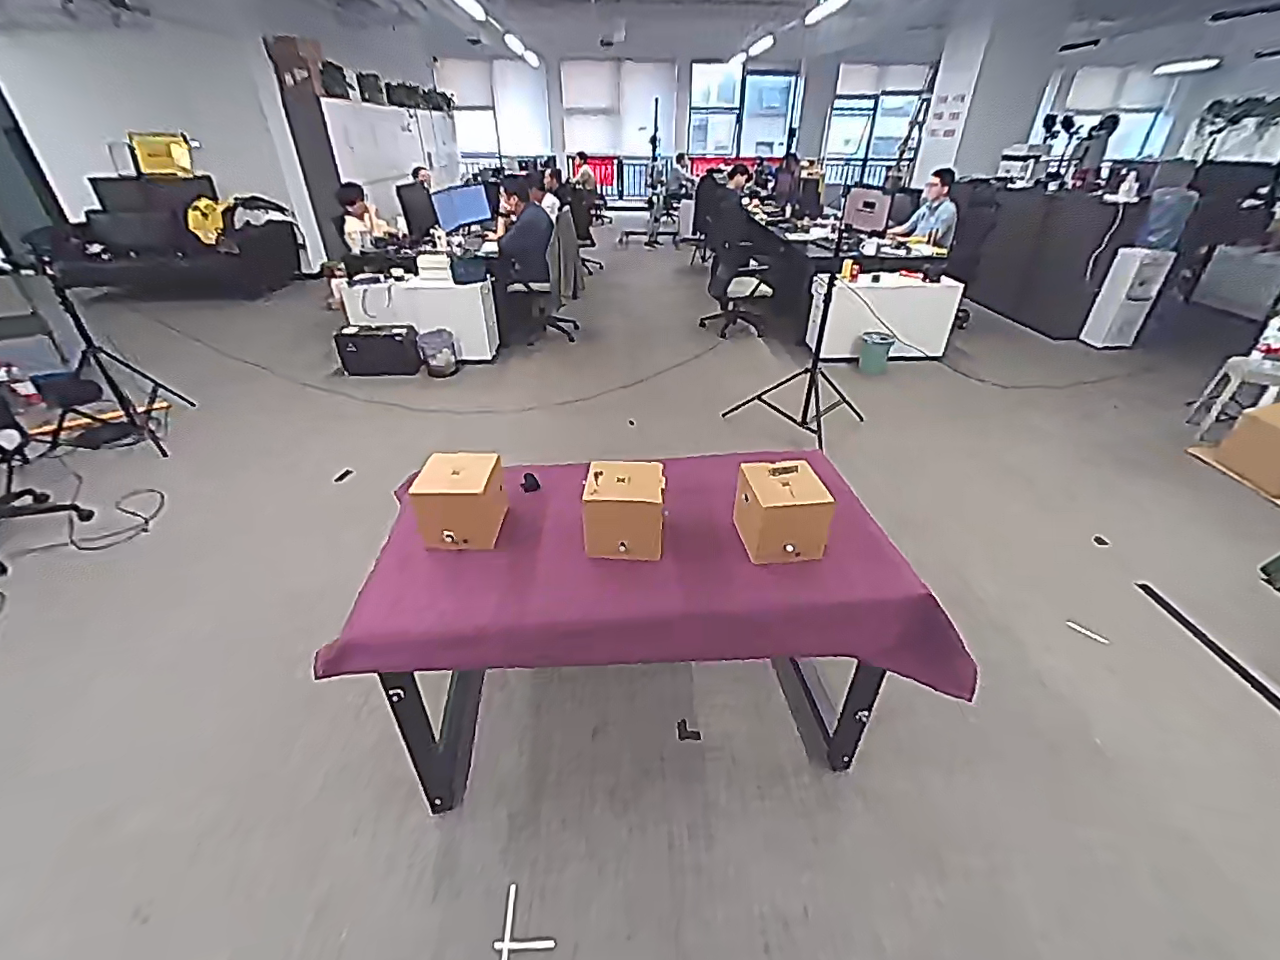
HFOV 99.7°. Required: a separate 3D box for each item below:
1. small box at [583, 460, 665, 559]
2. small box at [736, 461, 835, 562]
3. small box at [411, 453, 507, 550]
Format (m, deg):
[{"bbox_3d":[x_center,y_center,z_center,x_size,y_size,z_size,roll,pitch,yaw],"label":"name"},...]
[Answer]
[{"bbox_3d":[-0.034,0.070,1.273,0.179,0.176,0.168,3,33,3],"label":"small box"},{"bbox_3d":[0.330,0.072,1.270,0.168,0.176,0.179,-4,33,-6],"label":"small box"},{"bbox_3d":[-0.424,0.048,1.302,0.168,0.176,0.179,-1,34,0],"label":"small box"}]
